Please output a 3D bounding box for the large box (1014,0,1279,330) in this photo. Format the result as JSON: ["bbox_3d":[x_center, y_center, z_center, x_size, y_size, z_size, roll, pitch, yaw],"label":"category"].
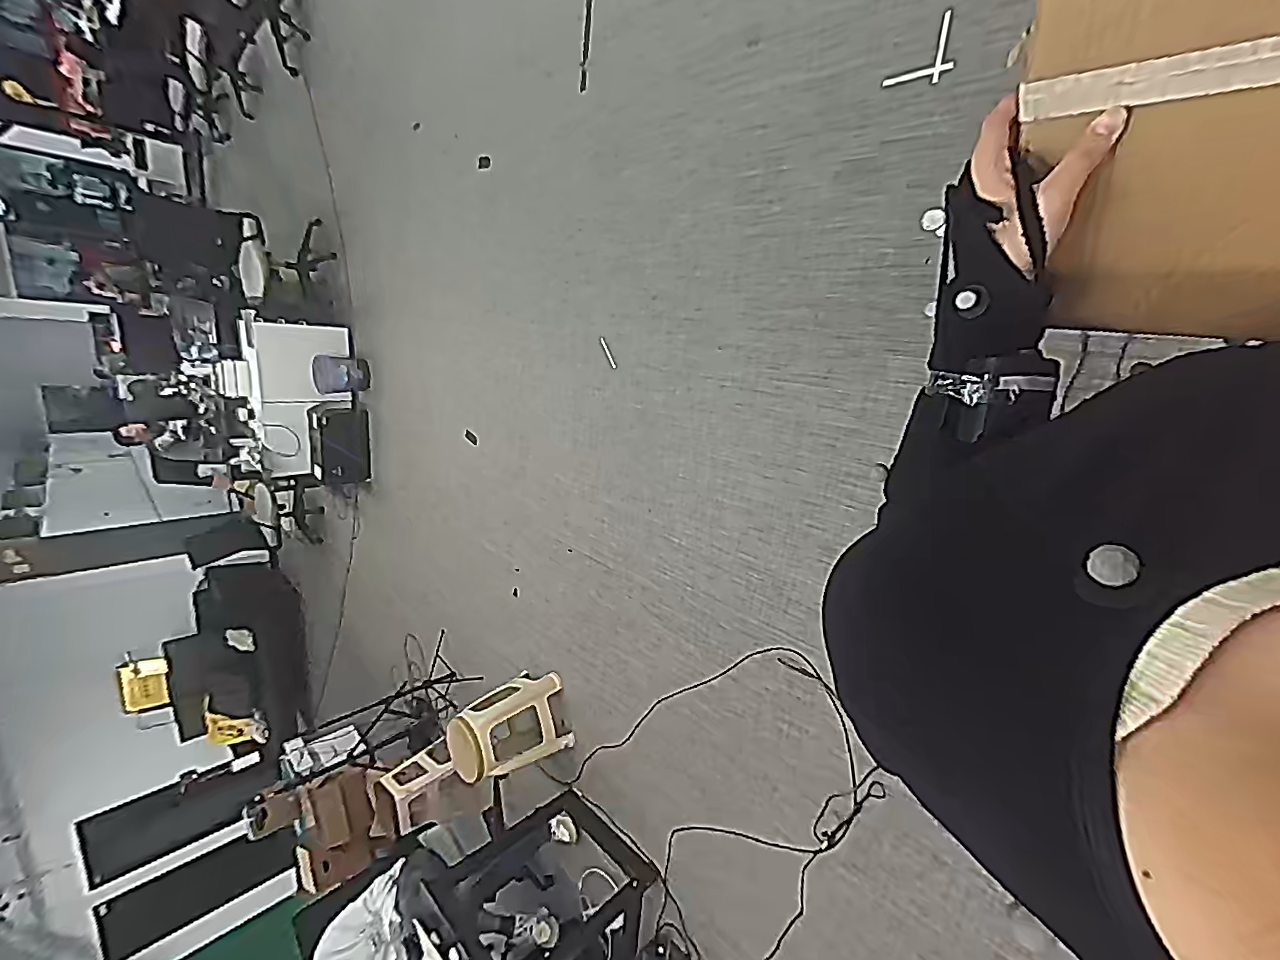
[{"bbox_3d":[0.485,-0.289,0.285,0.408,0.320,0.320,18,144,41],"label":"large box"}]
